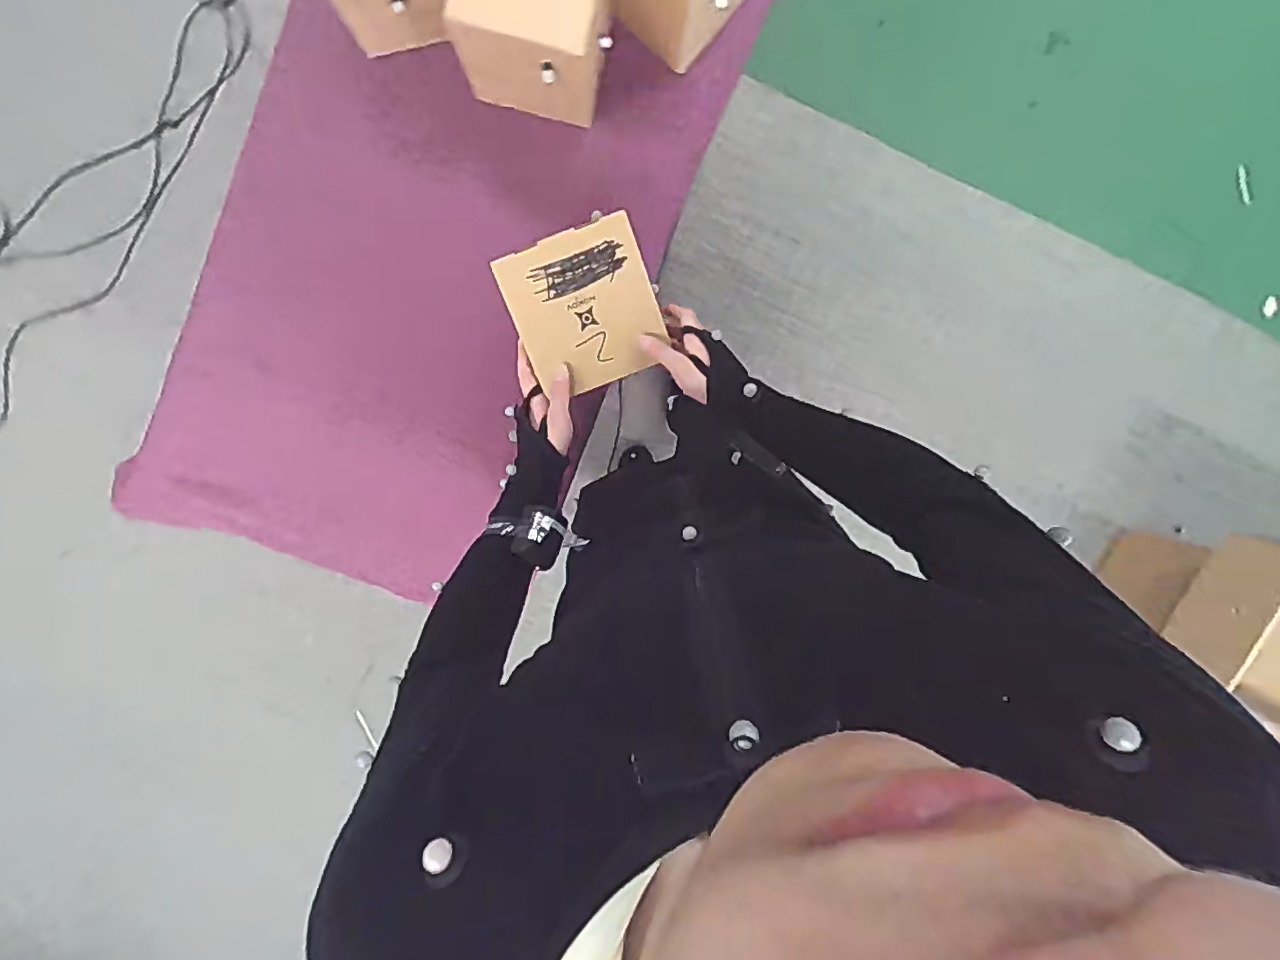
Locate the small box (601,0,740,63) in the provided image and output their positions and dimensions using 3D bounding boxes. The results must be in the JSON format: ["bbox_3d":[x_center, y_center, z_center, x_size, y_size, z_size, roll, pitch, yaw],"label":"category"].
[{"bbox_3d":[0.049,-0.715,0.723,0.179,0.176,0.168,41,94,-4],"label":"small box"}]
